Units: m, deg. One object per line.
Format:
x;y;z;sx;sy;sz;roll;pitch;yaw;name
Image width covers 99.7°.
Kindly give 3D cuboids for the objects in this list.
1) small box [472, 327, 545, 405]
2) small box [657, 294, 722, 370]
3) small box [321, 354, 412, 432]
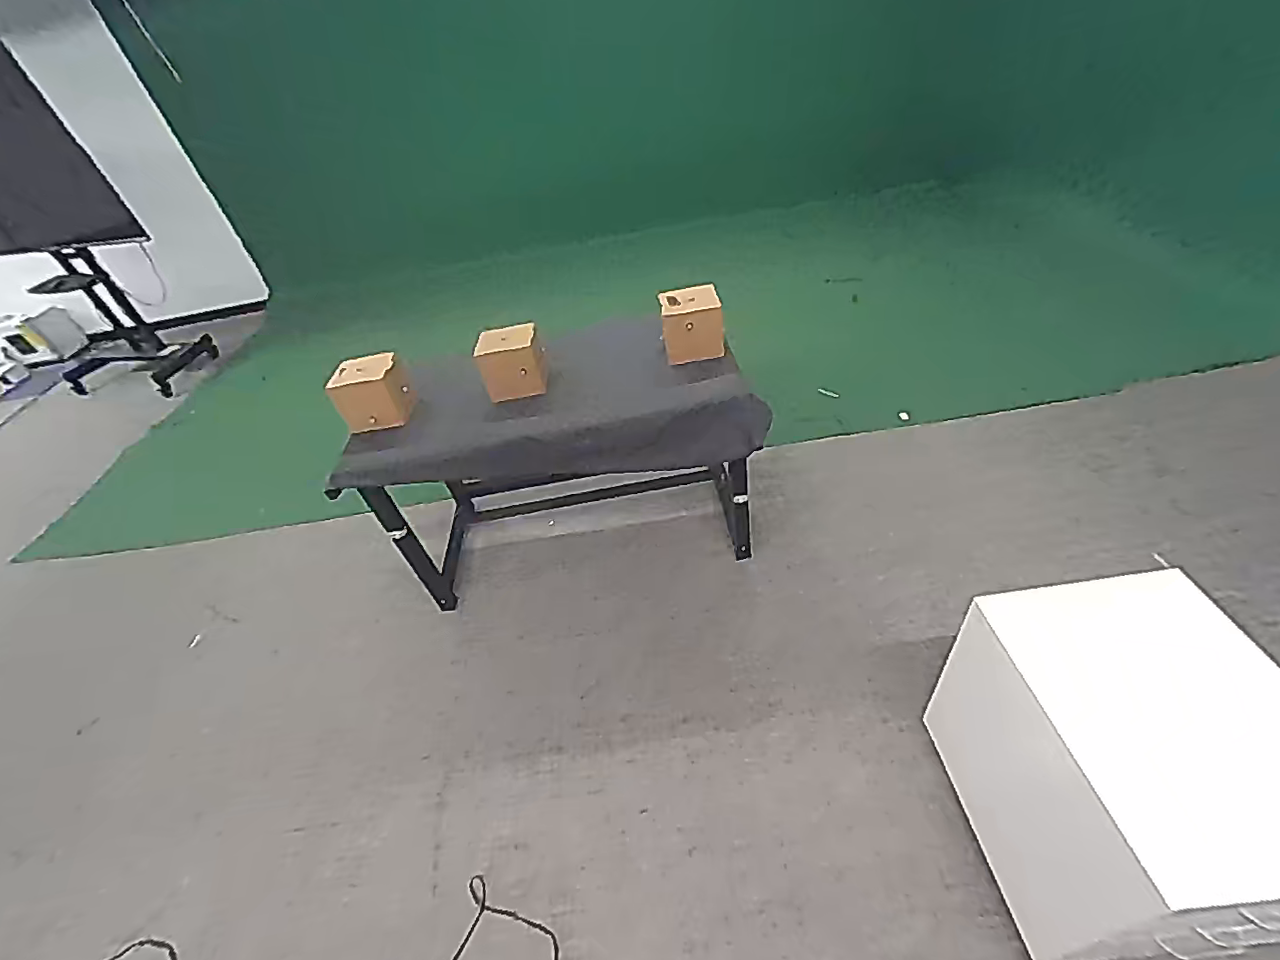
-0.400;-0.353;1.683;0.179;0.176;0.168;-10;39;2;small box
0.155;-0.459;1.686;0.179;0.176;0.168;-7;41;2;small box
-0.831;-0.267;1.666;0.179;0.176;0.168;-8;40;0;small box
